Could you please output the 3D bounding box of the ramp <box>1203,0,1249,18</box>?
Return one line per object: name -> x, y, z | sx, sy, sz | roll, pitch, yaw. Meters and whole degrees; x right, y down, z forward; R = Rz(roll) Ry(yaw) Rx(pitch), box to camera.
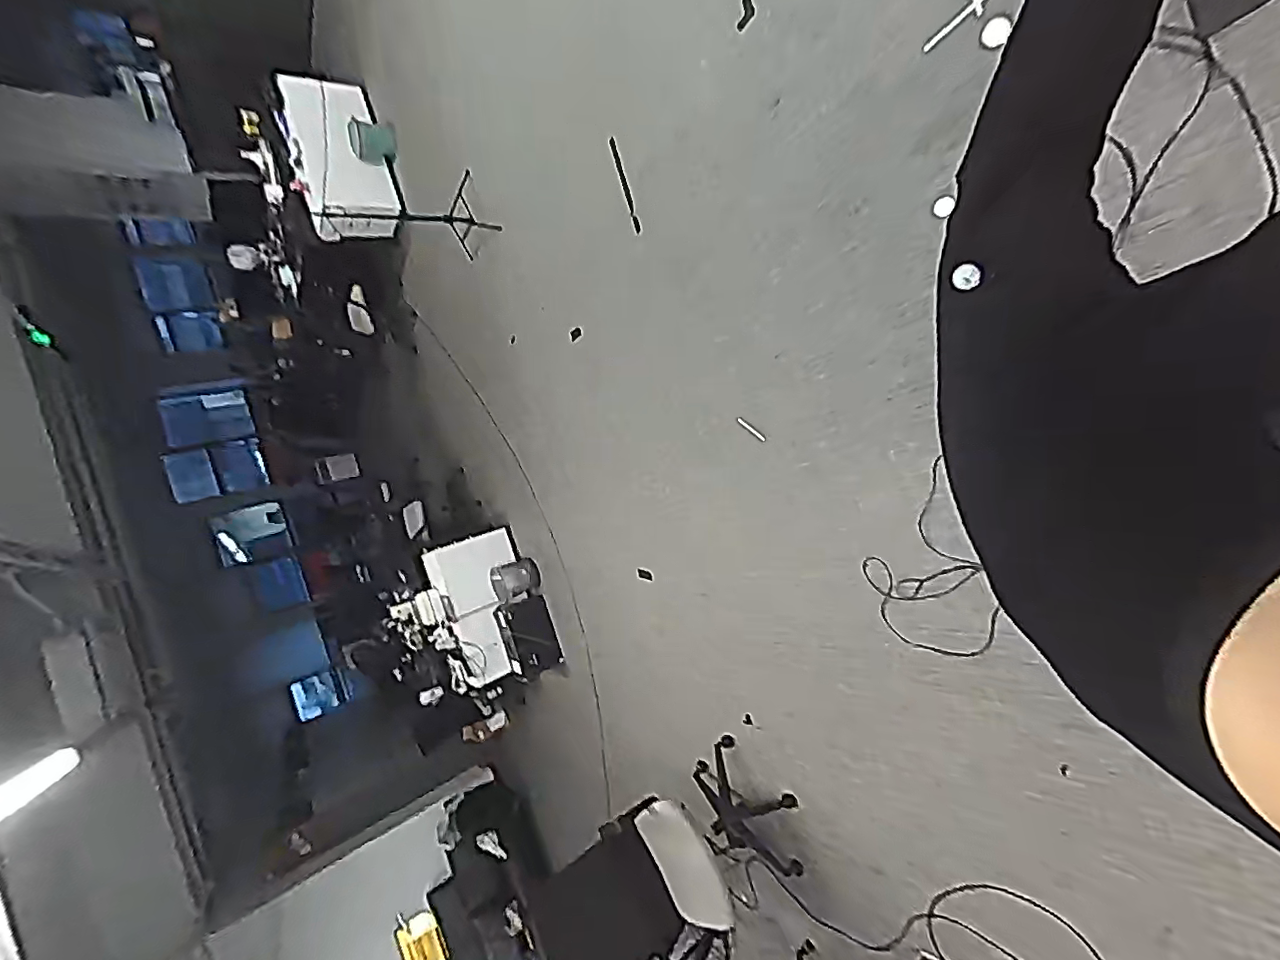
ramp -> 0.903, -1.284, 0.697 | 0.509, 0.206, 0.991 | -22, 87, 55
